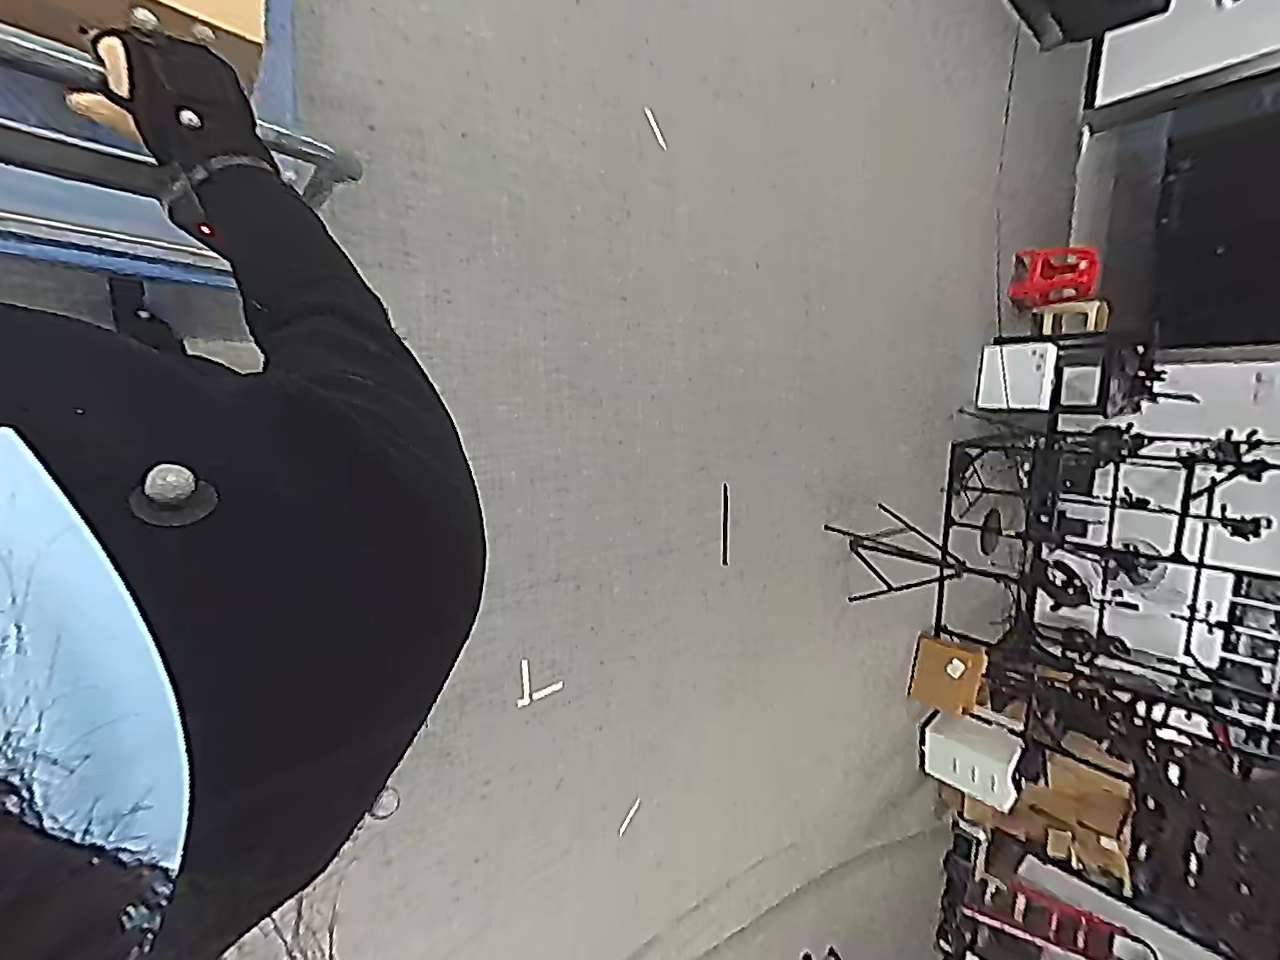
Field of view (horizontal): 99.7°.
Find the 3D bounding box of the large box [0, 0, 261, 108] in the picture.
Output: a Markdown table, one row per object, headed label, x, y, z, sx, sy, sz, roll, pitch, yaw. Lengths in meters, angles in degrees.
| label | x | y | z | sx | sy | sz | roll | pitch | yaw |
| --- | --- | --- | --- | --- | --- | --- | --- | --- | --- |
| large box | -0.798 | -0.819 | 0.766 | 0.408 | 0.320 | 0.320 | -2 | 97 | -40 |
